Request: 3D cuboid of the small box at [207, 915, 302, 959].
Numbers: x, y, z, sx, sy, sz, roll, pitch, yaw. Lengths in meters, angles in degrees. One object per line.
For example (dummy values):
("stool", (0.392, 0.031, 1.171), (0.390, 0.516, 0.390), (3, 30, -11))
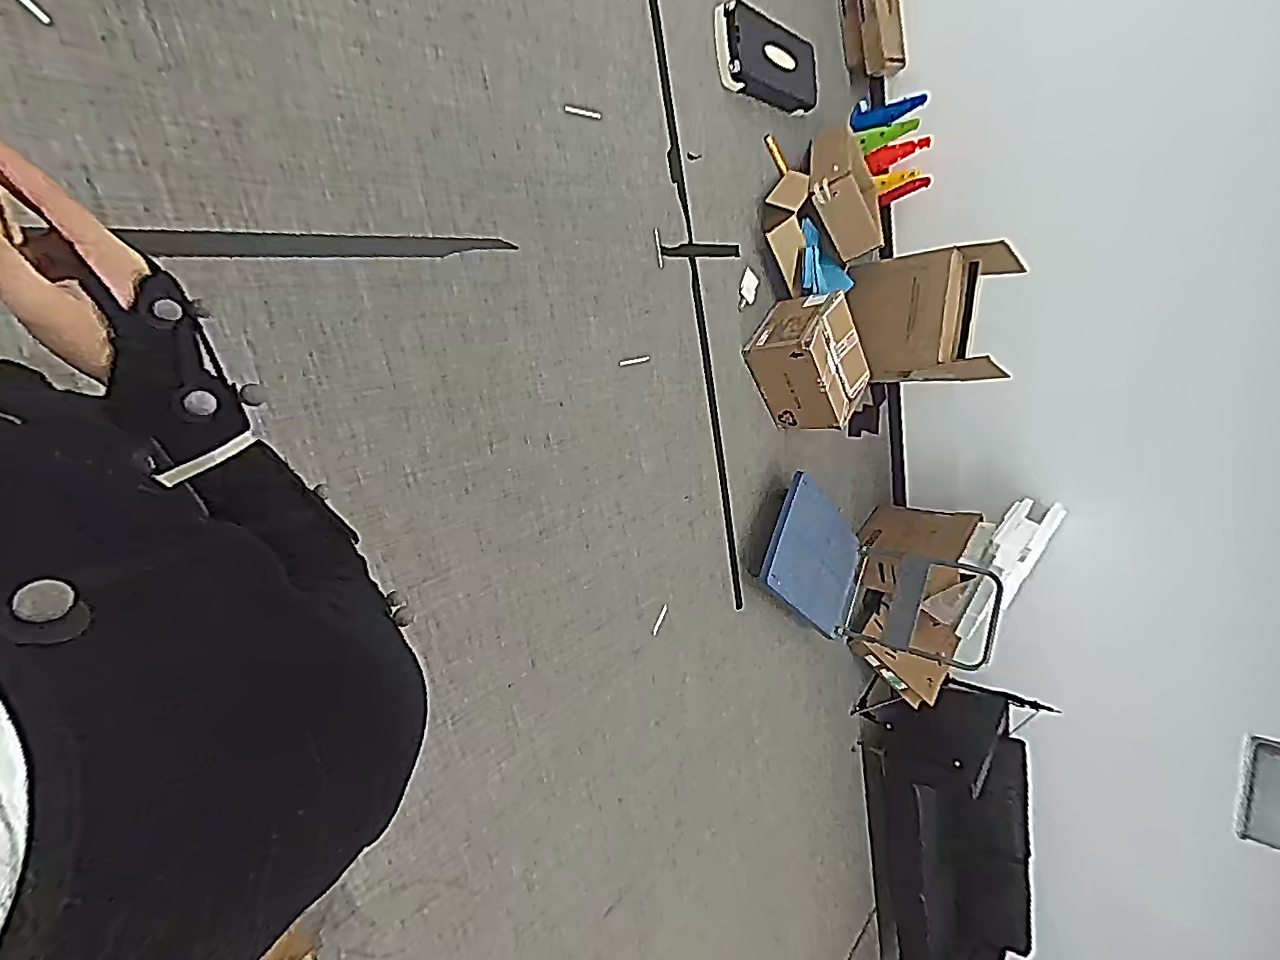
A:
("small box", (-0.838, 1.113, 1.185), (0.168, 0.176, 0.179), (-25, 112, -42))
